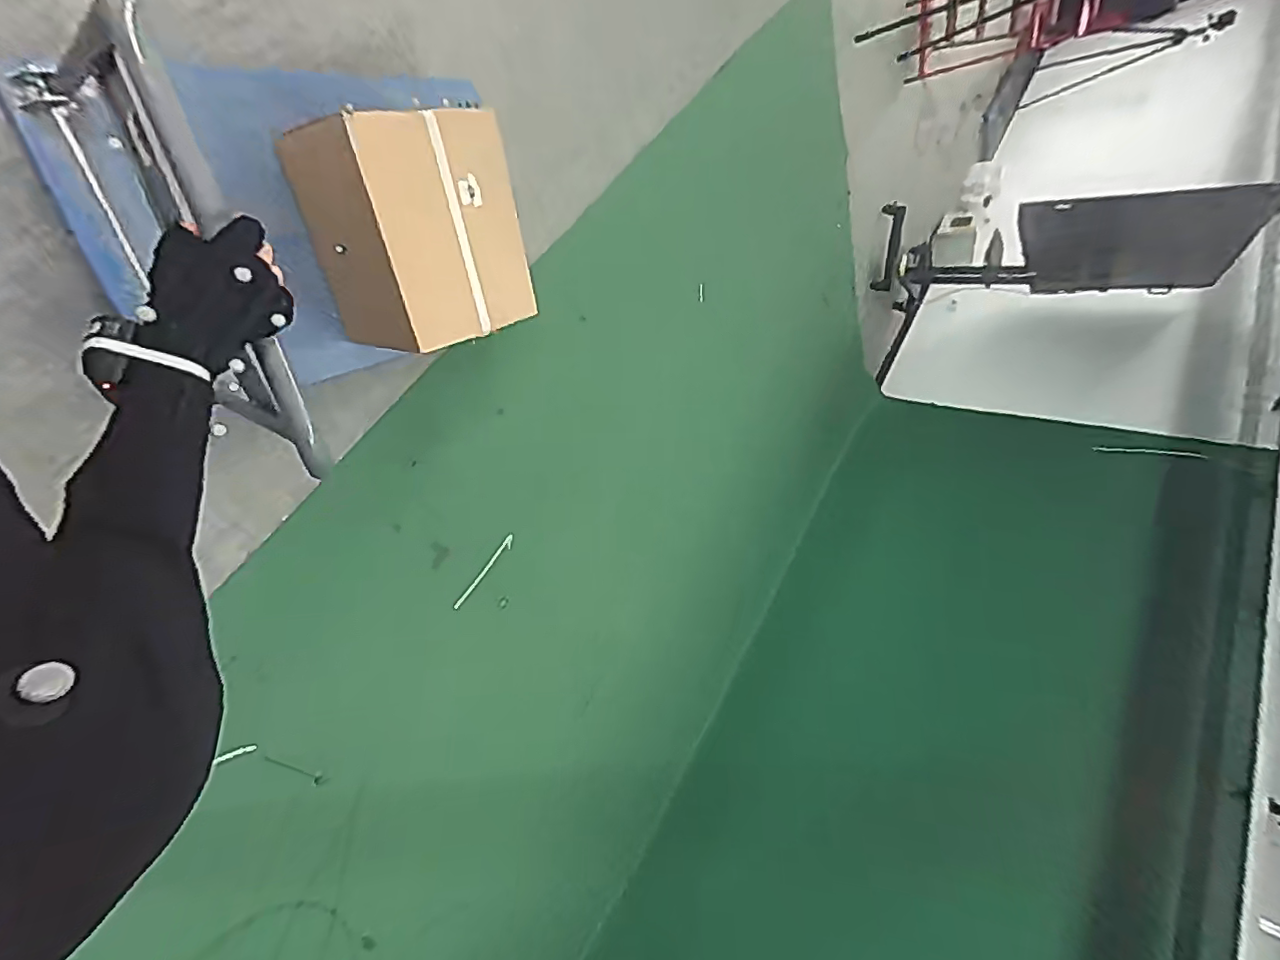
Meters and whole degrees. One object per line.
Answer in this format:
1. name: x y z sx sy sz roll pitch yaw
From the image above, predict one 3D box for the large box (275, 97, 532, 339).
1. large box: -0.485 -0.548 1.158 0.320 0.320 0.408 -36 129 -40
